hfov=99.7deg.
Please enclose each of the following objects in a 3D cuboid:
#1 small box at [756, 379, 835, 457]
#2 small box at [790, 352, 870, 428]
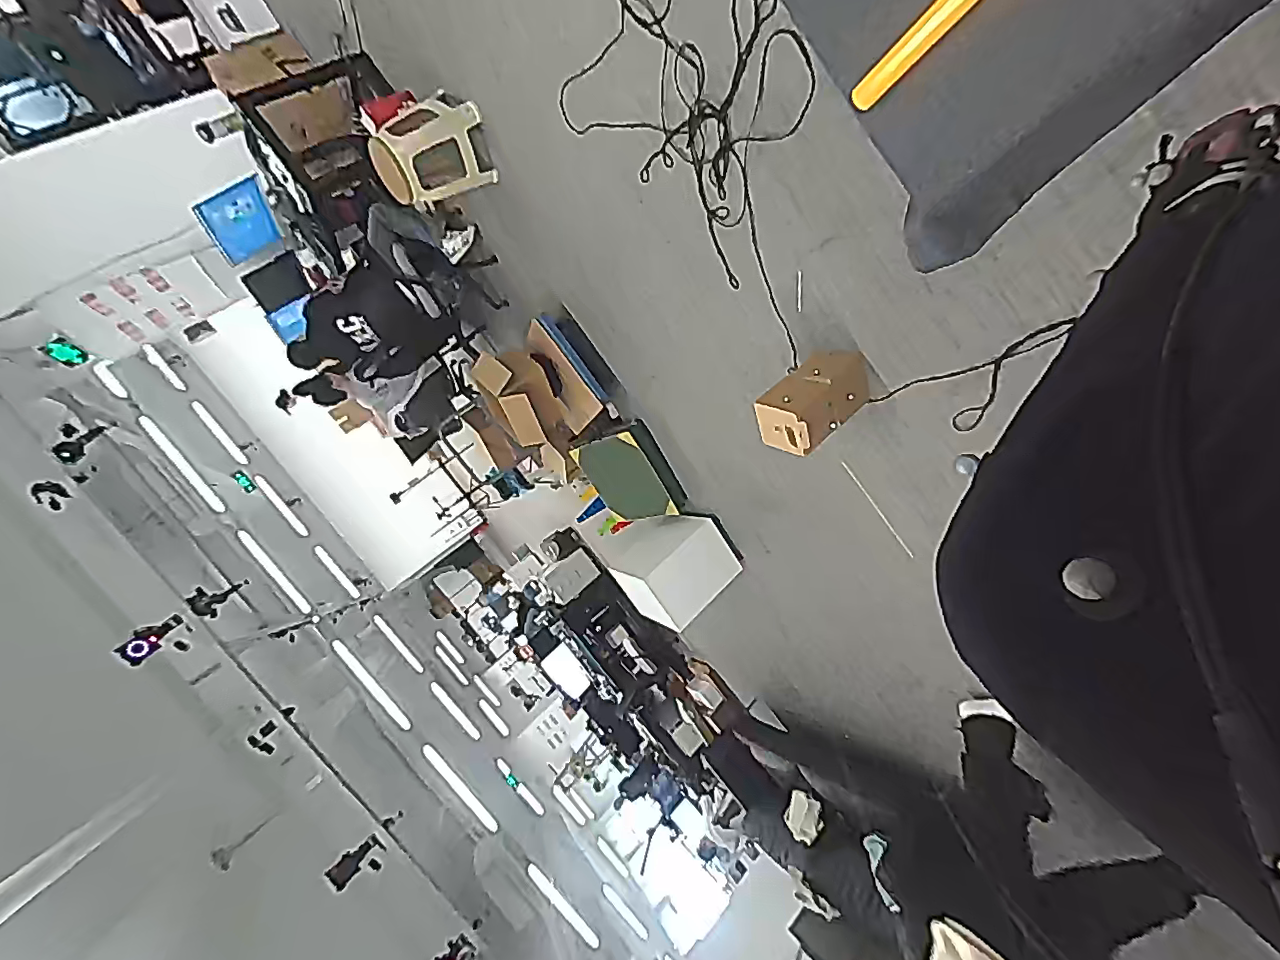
[{"bbox_3d":[0.503,-0.203,1.721,0.179,0.176,0.168,27,147,48],"label":"small box"},{"bbox_3d":[0.627,-0.299,1.770,0.168,0.176,0.179,22,144,52],"label":"small box"}]
